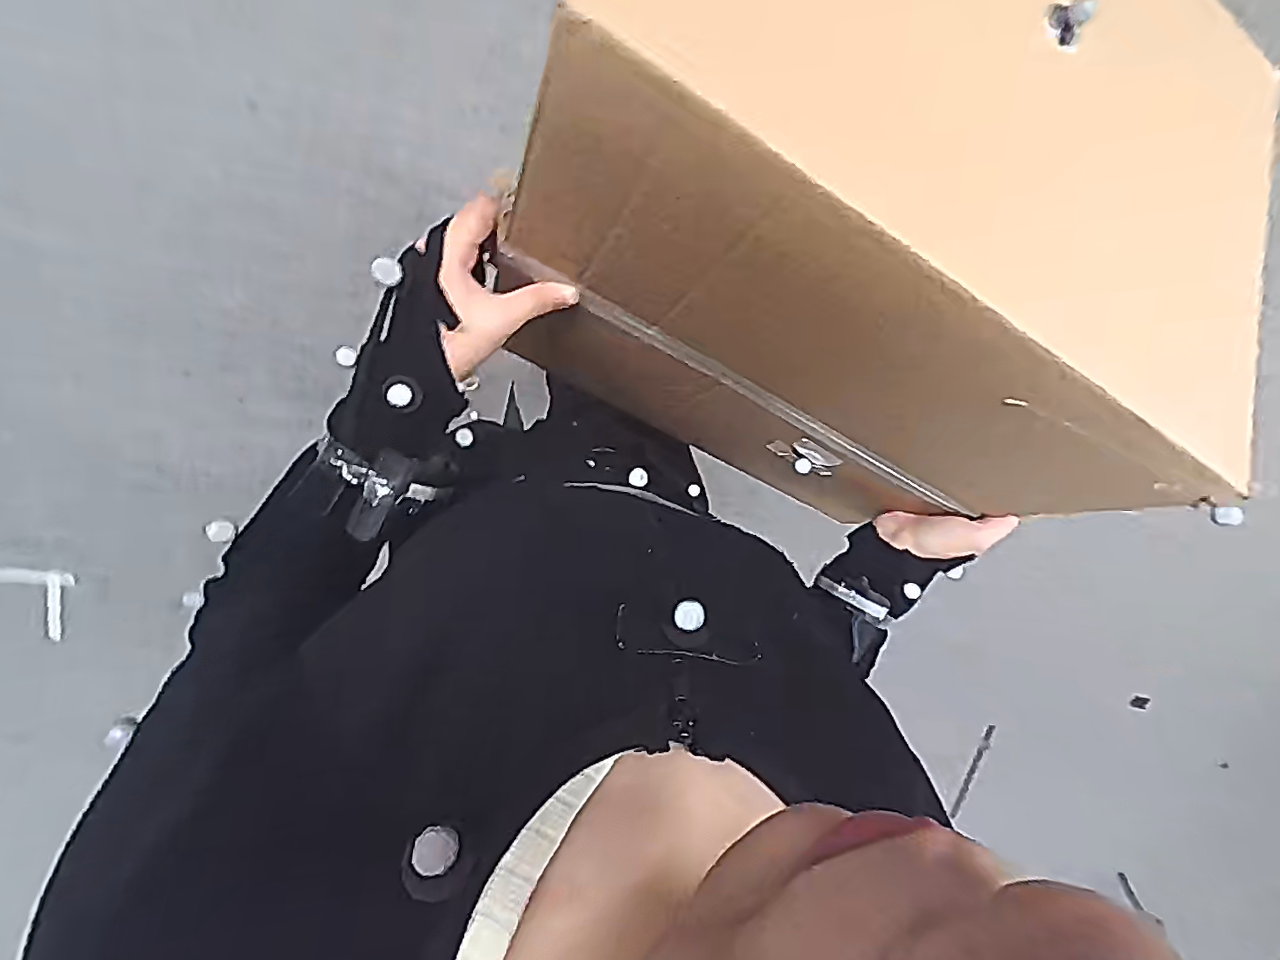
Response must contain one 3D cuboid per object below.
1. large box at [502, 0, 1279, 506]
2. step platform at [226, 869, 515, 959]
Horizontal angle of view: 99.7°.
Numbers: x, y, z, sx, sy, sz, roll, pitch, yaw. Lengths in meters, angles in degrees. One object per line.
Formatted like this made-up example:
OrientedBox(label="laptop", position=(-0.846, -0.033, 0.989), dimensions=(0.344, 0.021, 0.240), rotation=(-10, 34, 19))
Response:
OrientedBox(label="large box", position=(0.160, -0.207, 0.384), dimensions=(0.408, 0.320, 0.320), rotation=(24, 76, -16))
OrientedBox(label="step platform", position=(-0.681, 1.233, 1.408), dimensions=(0.684, 0.204, 0.286), rotation=(17, 98, -16))
